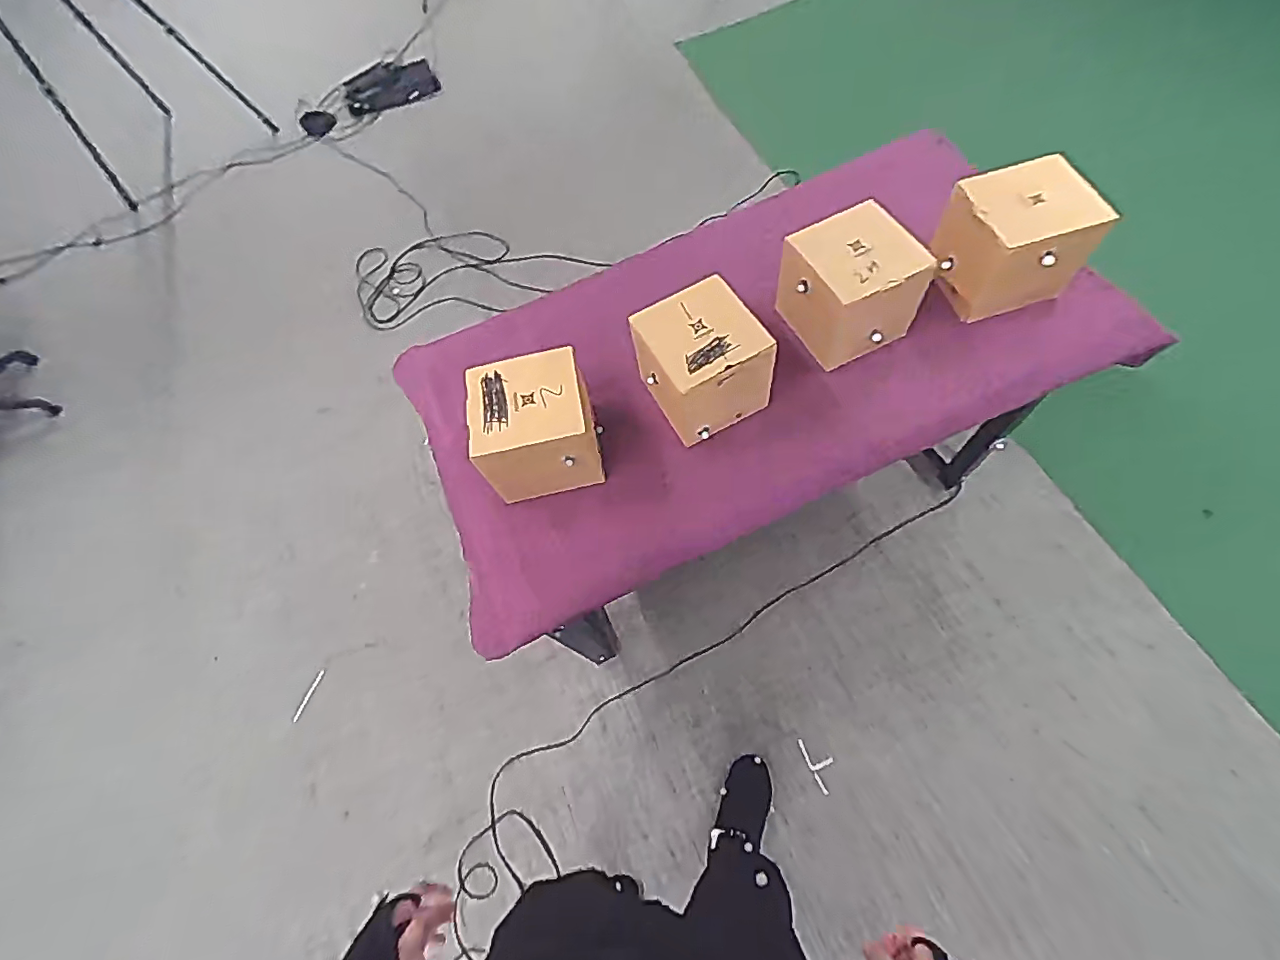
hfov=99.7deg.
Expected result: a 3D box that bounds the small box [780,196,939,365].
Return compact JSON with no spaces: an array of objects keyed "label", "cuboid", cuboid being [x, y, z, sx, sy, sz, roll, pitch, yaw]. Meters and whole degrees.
[{"label":"small box","cuboid":[0.354,-0.331,0.915,0.168,0.176,0.179,-25,64,-3]}]

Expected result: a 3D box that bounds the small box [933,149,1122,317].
[{"label":"small box","cuboid":[0.629,-0.408,0.911,0.179,0.176,0.168,-16,64,2]}]

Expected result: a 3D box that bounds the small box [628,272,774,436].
[{"label":"small box","cuboid":[0.101,-0.195,0.890,0.168,0.176,0.179,-27,64,-5]}]
